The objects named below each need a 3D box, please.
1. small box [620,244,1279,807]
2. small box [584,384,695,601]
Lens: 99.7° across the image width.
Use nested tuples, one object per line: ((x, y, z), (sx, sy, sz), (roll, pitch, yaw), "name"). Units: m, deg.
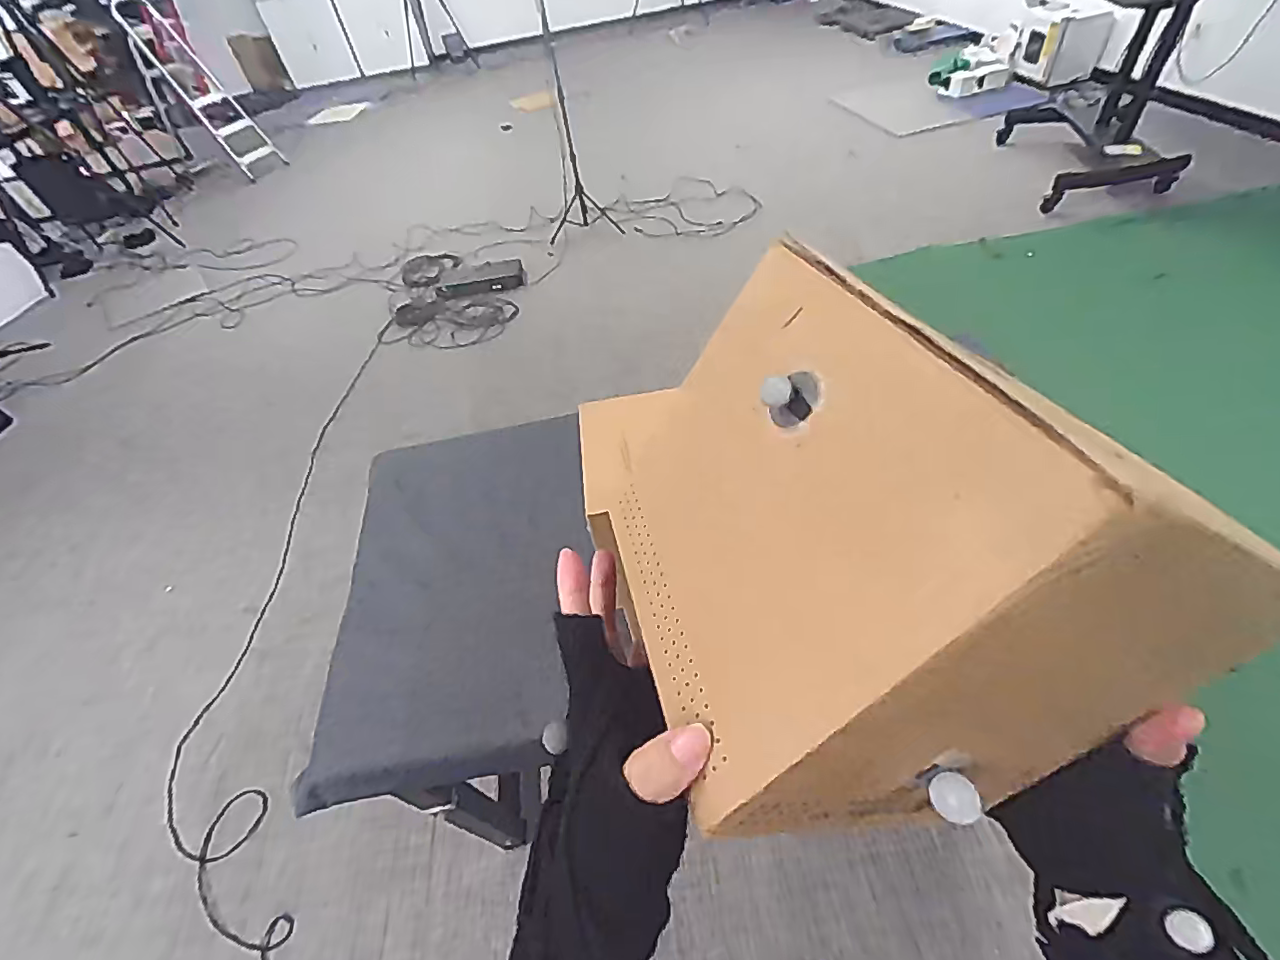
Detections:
((0.107, 0.025, 0.259), (0.168, 0.176, 0.179), (16, 33, -28), "small box")
((0.040, 0.014, 0.609), (0.179, 0.176, 0.168), (-10, 46, 1), "small box")
